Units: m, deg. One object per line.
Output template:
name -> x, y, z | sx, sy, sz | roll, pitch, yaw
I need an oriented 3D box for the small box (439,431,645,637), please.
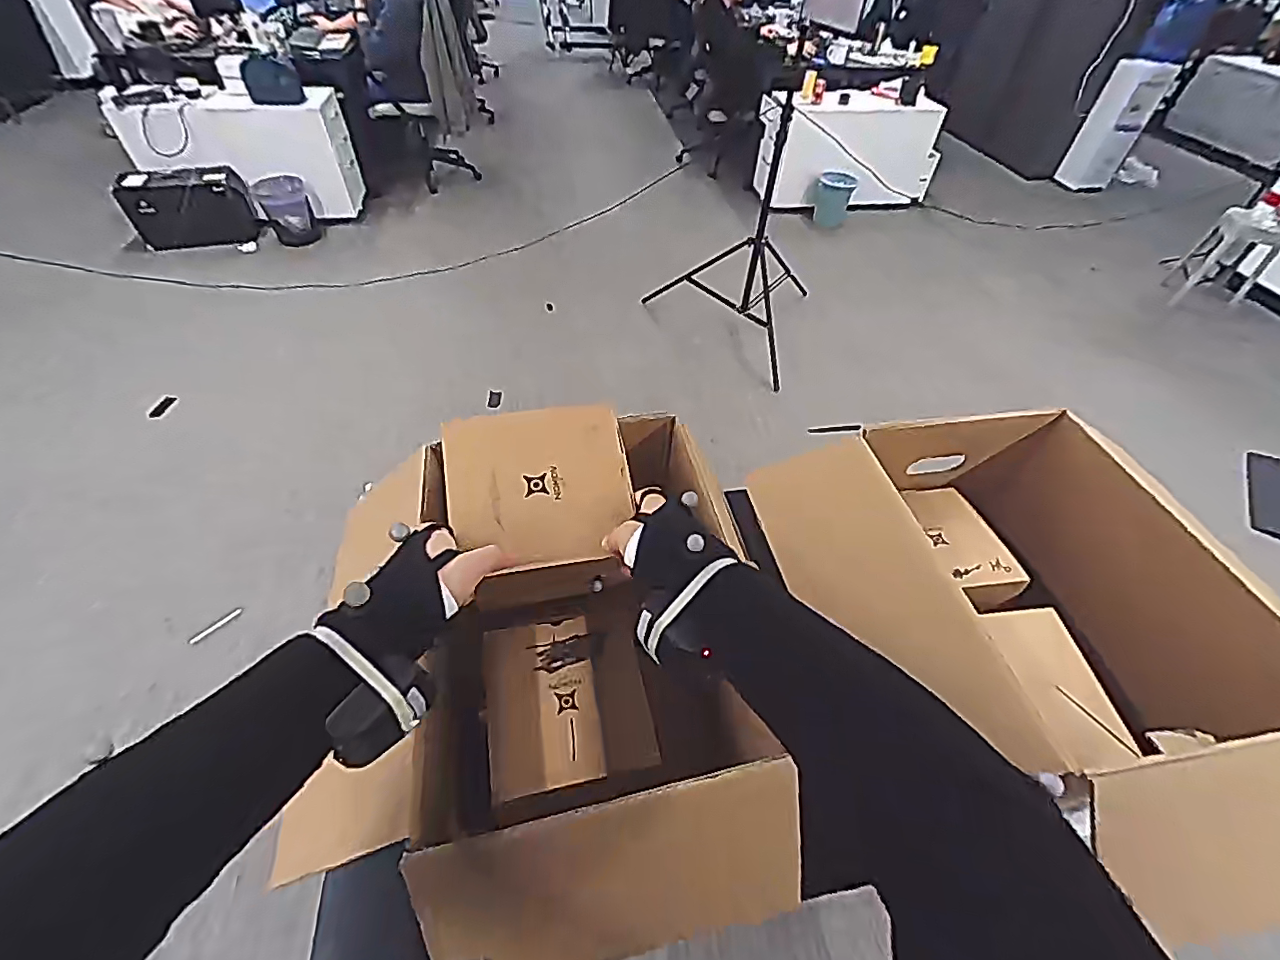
small box -> -0.103, 0.064, 0.575 | 0.179, 0.176, 0.168 | -8, 69, -10
